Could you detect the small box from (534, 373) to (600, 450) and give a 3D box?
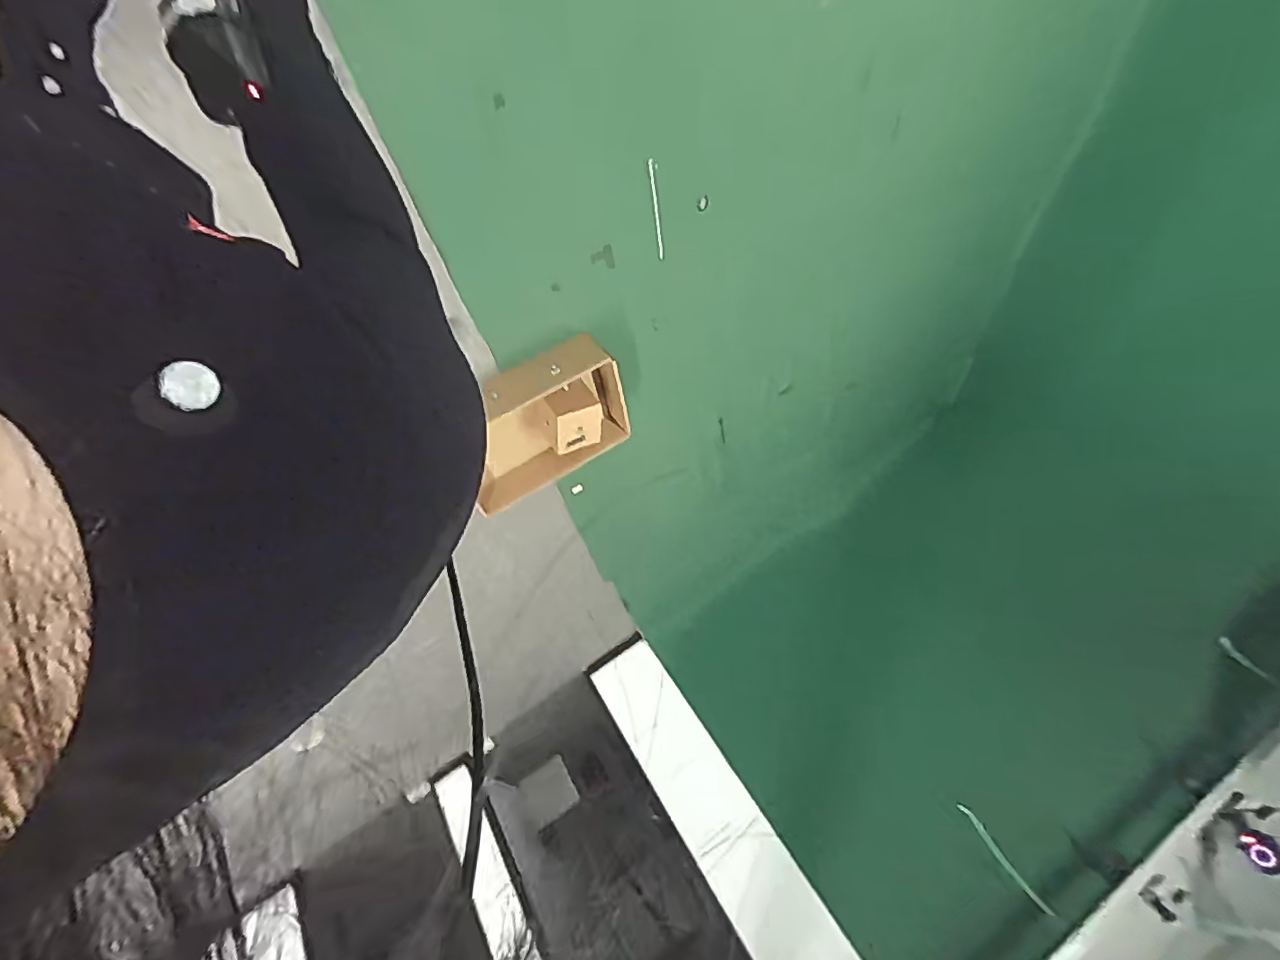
[{"bbox_3d":[-0.254,-0.238,1.860,0.168,0.176,0.179,-22,144,-24],"label":"small box"}]
